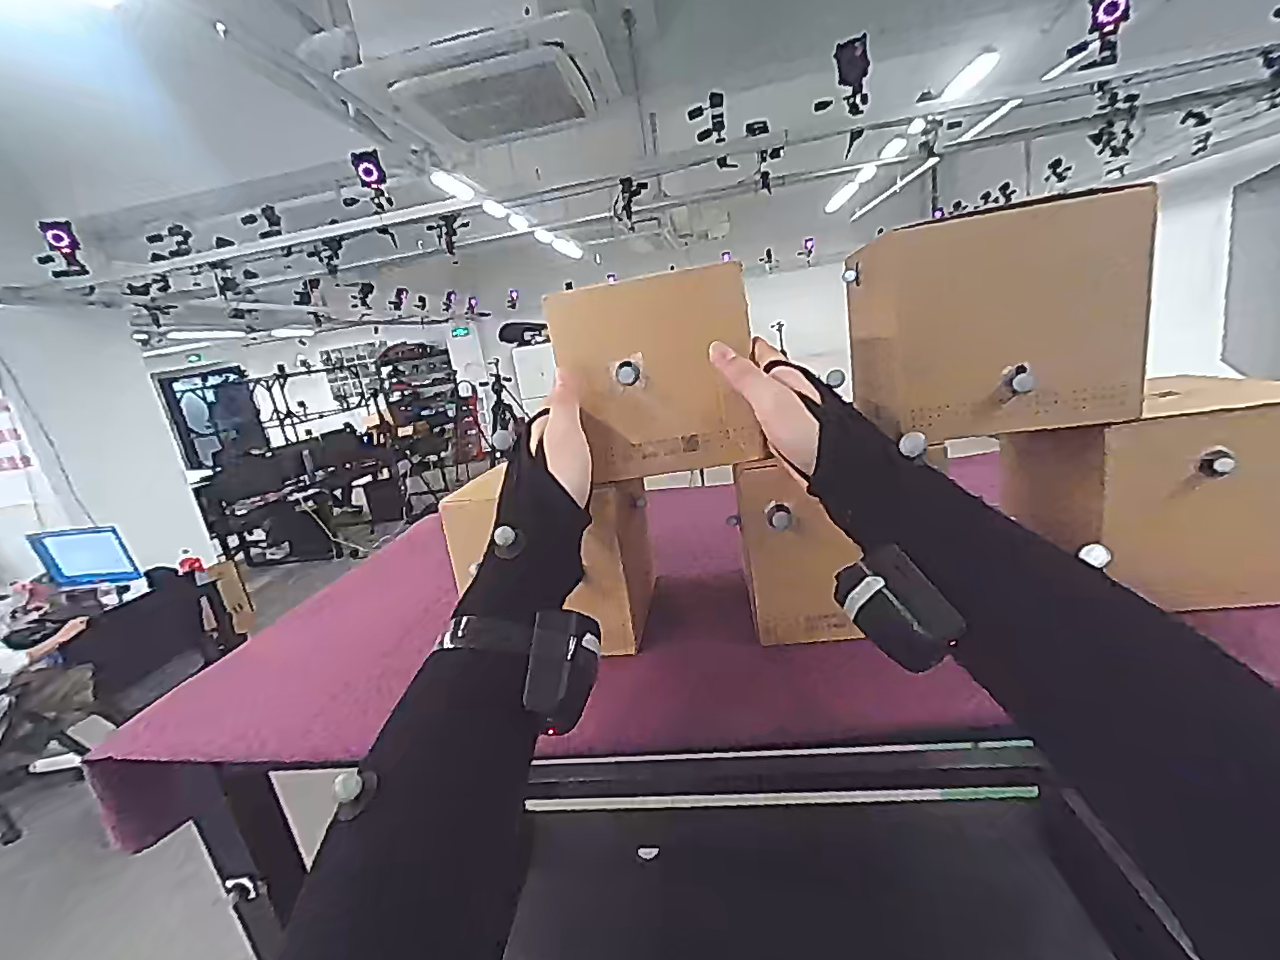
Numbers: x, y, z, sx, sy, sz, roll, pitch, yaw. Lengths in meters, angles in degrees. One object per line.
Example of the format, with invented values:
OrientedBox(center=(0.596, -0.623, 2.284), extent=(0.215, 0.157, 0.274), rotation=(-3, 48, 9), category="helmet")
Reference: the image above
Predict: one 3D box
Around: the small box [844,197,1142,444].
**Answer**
OrientedBox(center=(0.292, -0.135, 0.491), extent=(0.179, 0.176, 0.168), rotation=(-5, 14, 10), category="small box")

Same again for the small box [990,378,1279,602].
OrientedBox(center=(0.462, 0.004, 0.510), extent=(0.179, 0.176, 0.168), rotation=(-6, 15, 9), category="small box")

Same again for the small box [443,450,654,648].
OrientedBox(center=(-0.081, 0.068, 0.586), extent=(0.168, 0.176, 0.179), rotation=(-5, 14, 9), category="small box")

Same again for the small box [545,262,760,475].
OrientedBox(center=(0.020, -0.104, 0.541), extent=(0.168, 0.176, 0.179), rotation=(-9, 14, 7), category="small box")
